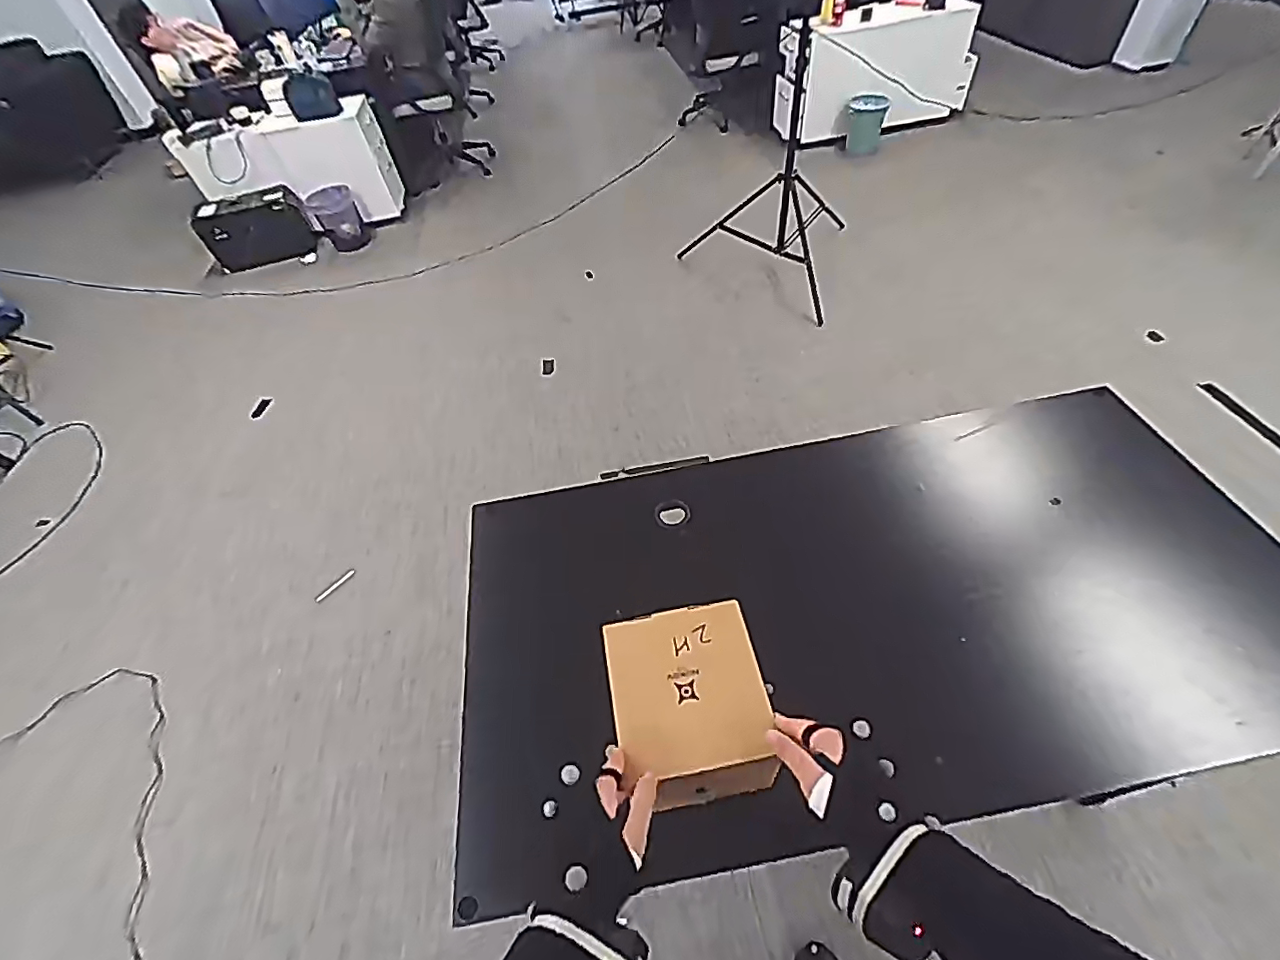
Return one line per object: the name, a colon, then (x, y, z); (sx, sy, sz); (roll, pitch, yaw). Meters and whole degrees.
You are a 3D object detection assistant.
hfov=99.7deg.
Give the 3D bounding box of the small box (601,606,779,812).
small box: (0.056, 0.280, 0.648); (0.168, 0.176, 0.179); (-12, 49, -2)
